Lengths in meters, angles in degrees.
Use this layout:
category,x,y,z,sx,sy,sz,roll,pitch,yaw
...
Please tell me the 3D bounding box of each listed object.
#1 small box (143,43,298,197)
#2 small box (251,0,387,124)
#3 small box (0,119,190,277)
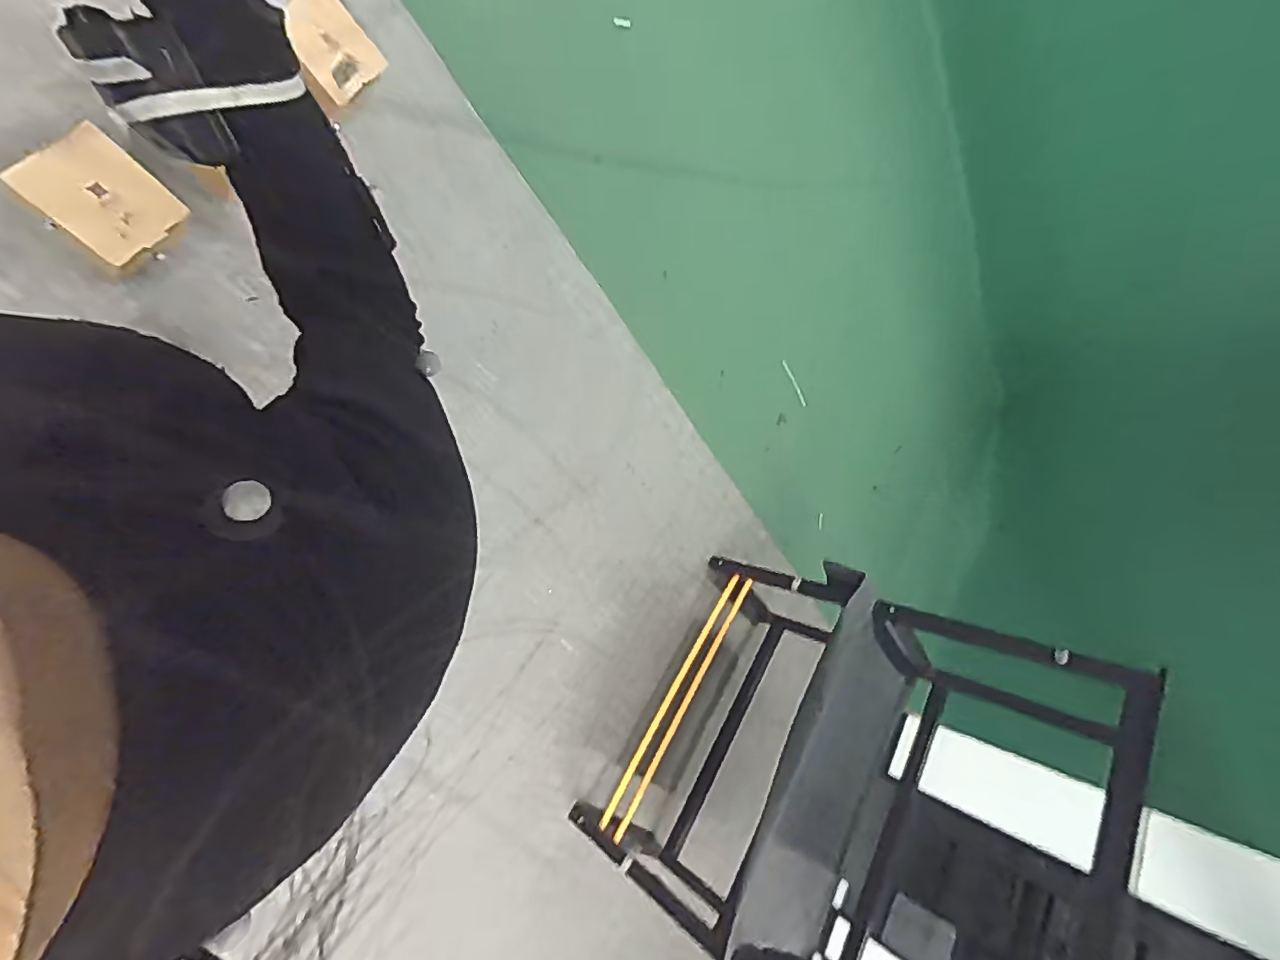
category,x,y,z,sx,sy,sz,roll,pitch,yaw
small box,-0.834,-0.702,1.073,0.168,0.176,0.179,-56,129,-23
small box,-0.696,-0.911,1.172,0.179,0.176,0.168,48,64,-36
small box,-0.968,-0.493,0.972,0.179,0.176,0.168,50,64,-36
